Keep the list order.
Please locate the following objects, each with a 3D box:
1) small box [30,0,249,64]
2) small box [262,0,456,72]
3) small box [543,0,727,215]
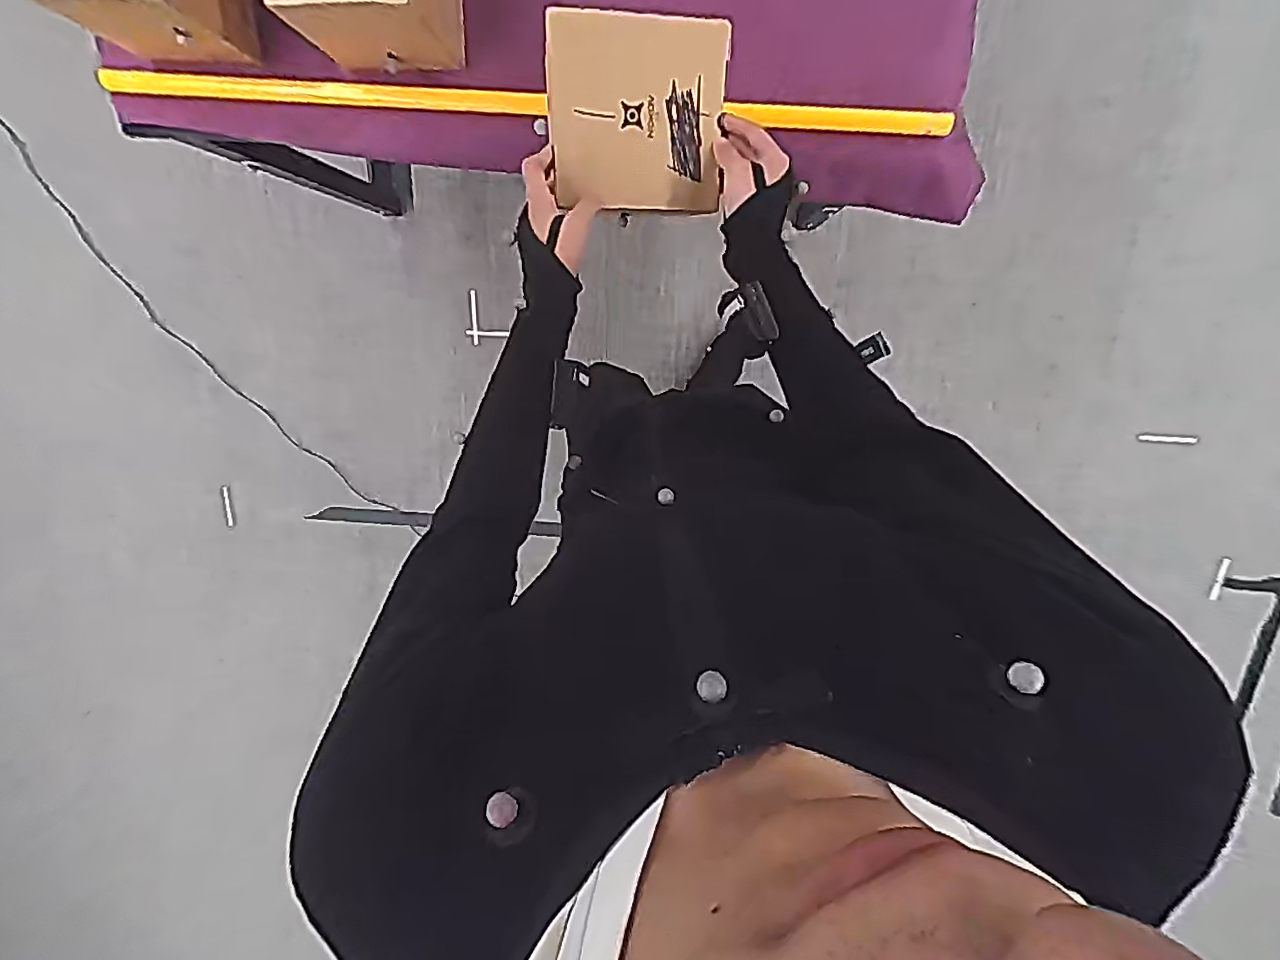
[{"bbox_3d":[-0.633,-0.660,0.683,0.179,0.176,0.168,3,105,1],"label":"small box"},{"bbox_3d":[-0.339,-0.637,0.670,0.179,0.176,0.168,3,106,3],"label":"small box"},{"bbox_3d":[-0.017,-0.394,0.605,0.179,0.176,0.168,-2,114,-9],"label":"small box"}]
